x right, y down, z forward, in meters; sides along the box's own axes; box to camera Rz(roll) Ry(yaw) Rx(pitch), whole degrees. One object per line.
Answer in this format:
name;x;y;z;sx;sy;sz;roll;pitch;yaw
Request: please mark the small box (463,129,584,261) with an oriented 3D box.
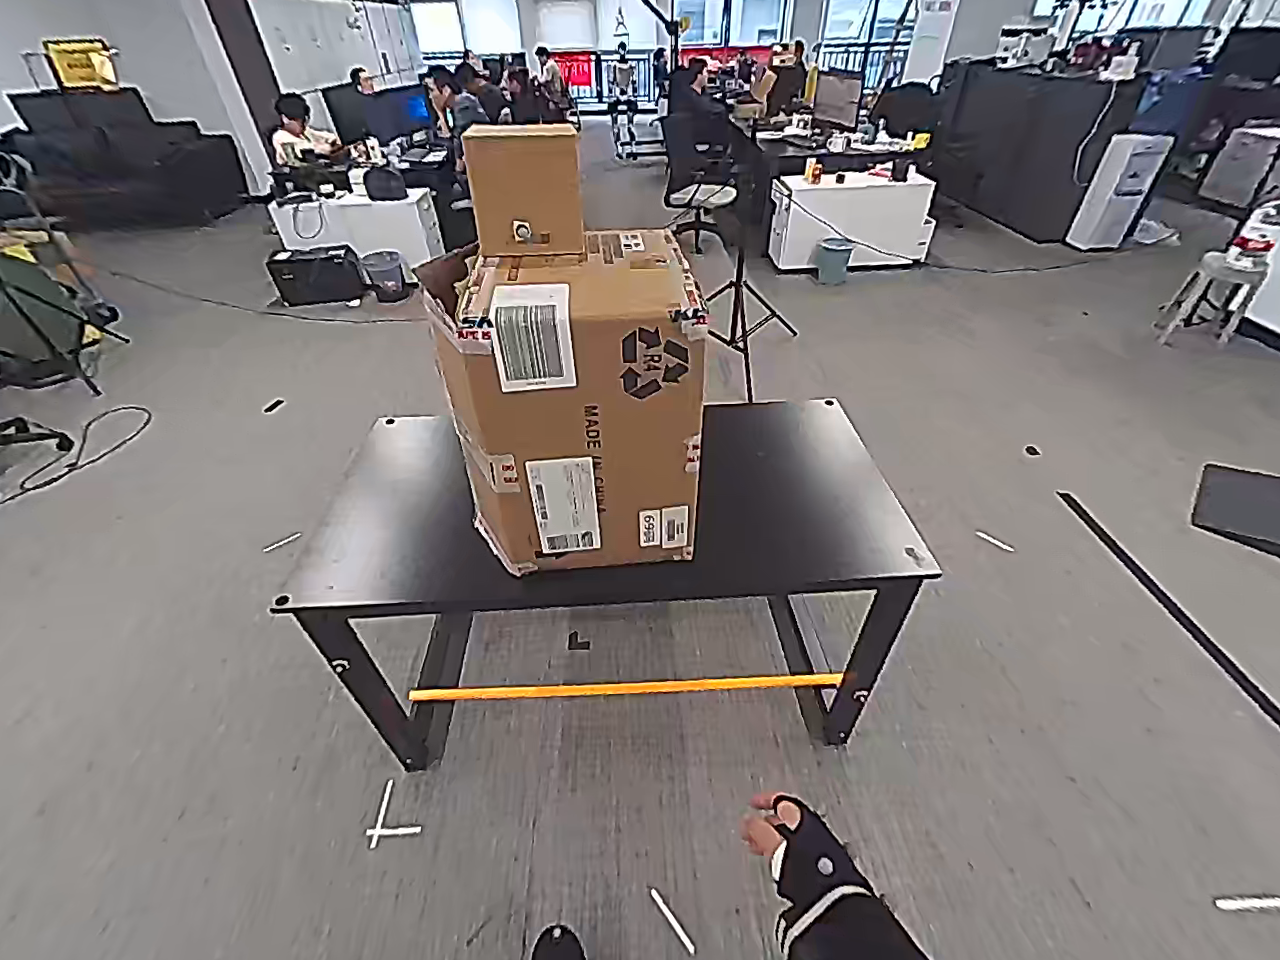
small box;-0.183;-0.468;0.887;0.168;0.176;0.179;-6;38;-7
